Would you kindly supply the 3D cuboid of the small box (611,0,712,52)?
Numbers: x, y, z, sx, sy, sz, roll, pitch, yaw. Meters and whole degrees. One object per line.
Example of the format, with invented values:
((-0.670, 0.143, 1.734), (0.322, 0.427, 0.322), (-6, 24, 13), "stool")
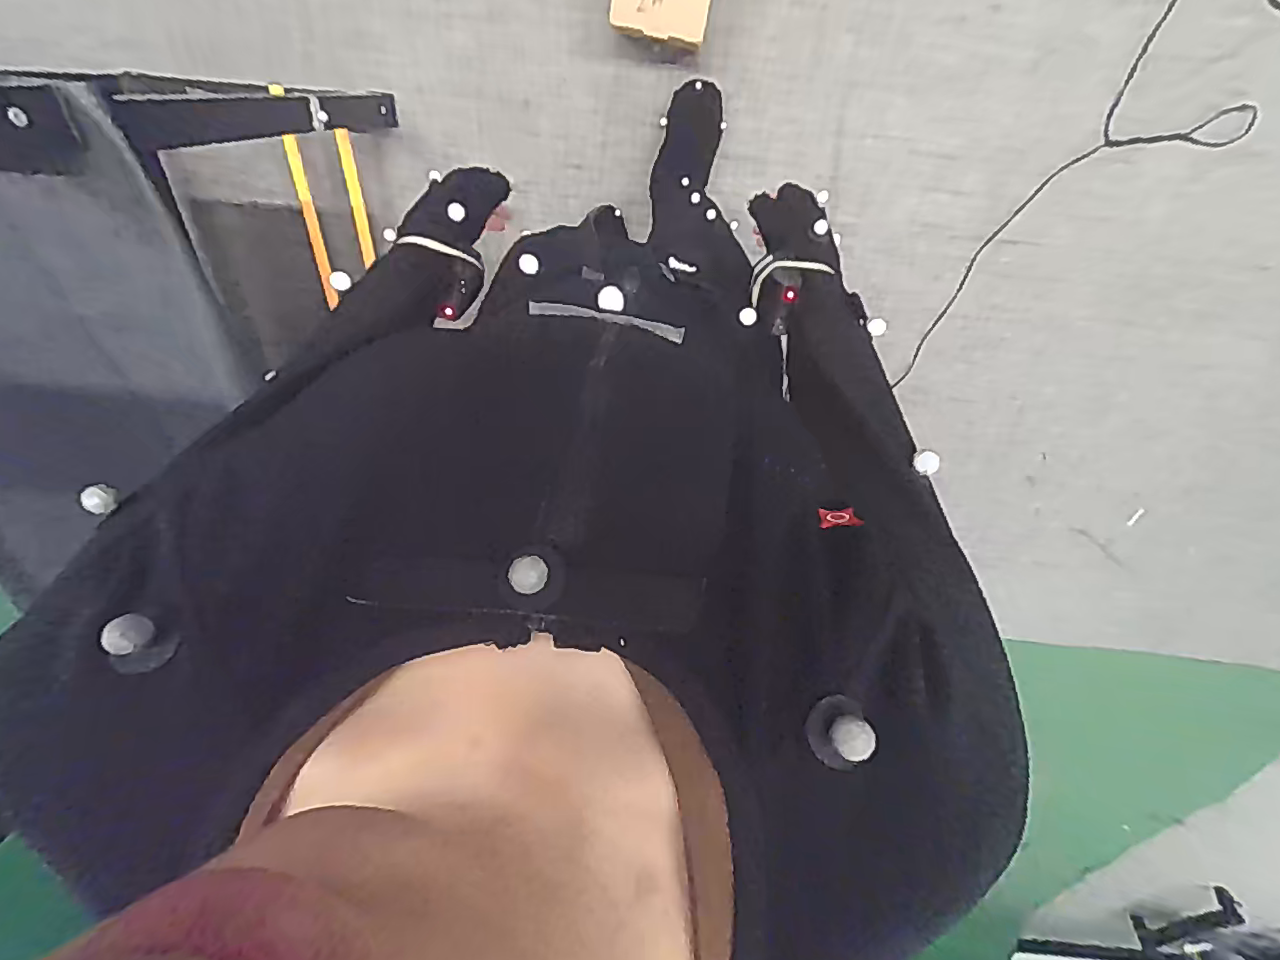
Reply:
((0.049, -0.884, 0.953), (0.168, 0.176, 0.179), (11, 126, -3), "small box")
